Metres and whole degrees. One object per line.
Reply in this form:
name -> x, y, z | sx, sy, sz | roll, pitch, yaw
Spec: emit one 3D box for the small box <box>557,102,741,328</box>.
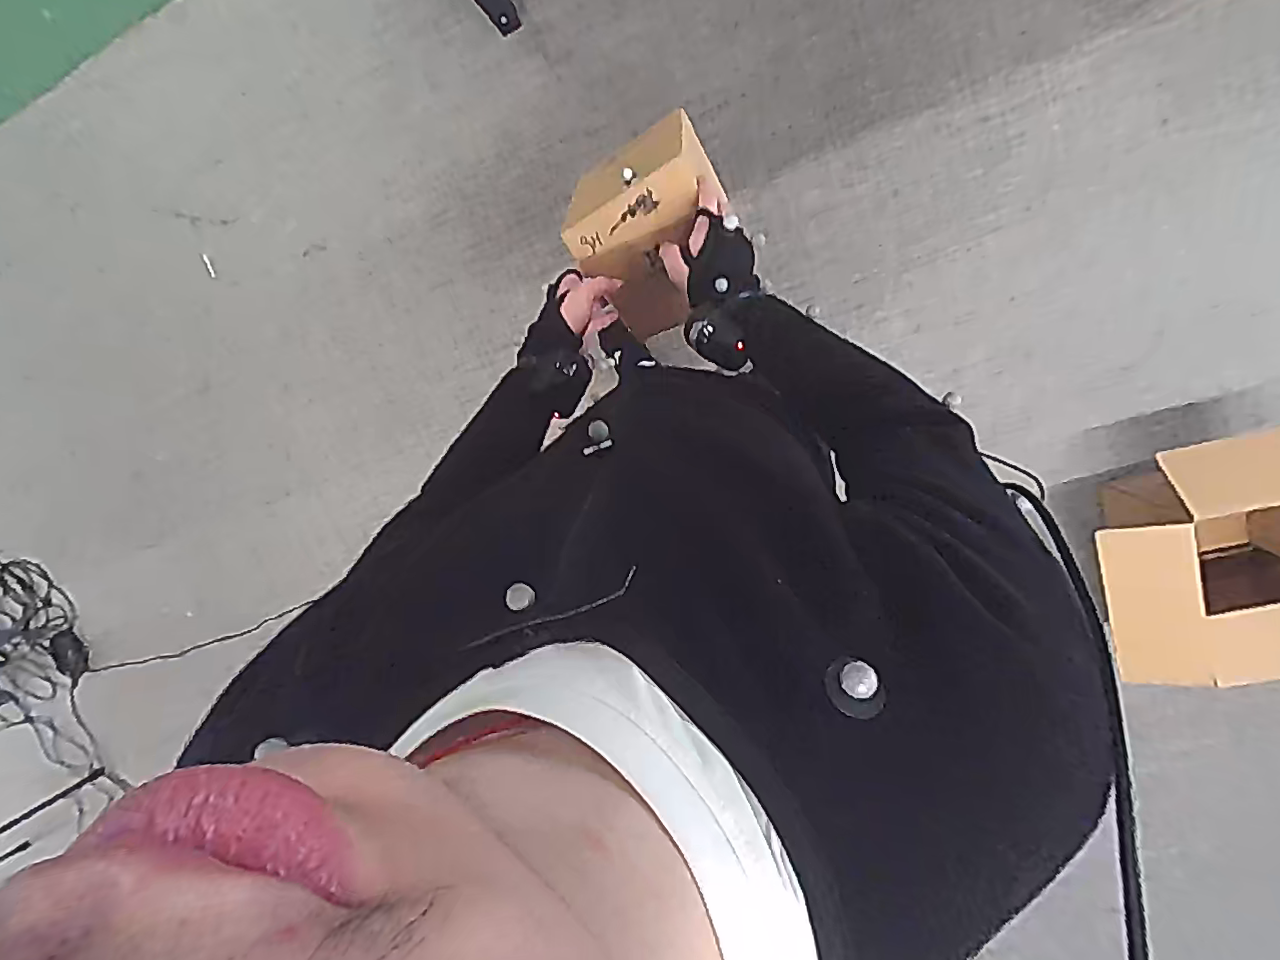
small box -> 0.019, -0.342, 0.708 | 0.168, 0.176, 0.179 | -22, 133, 27
